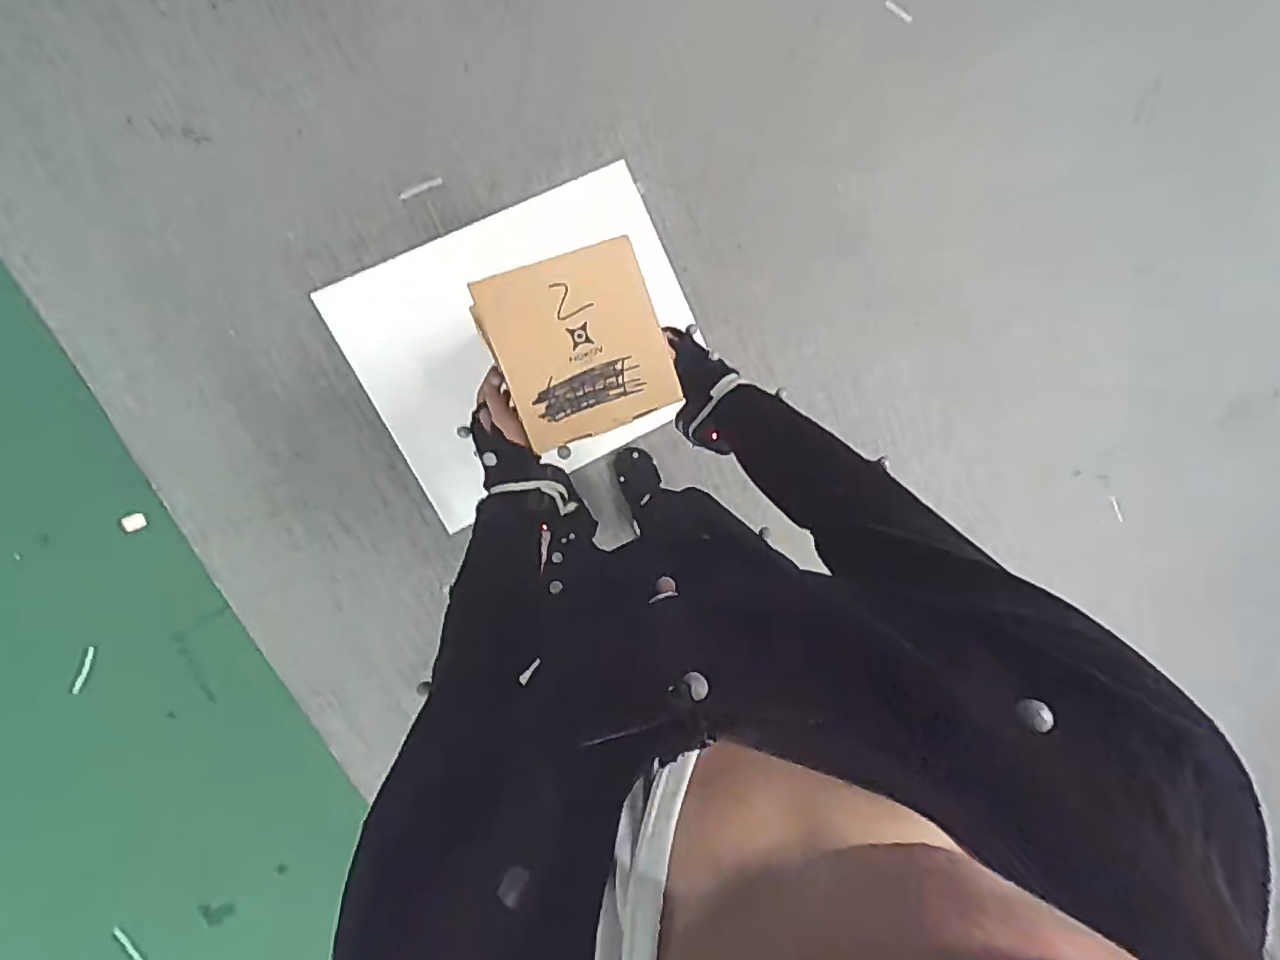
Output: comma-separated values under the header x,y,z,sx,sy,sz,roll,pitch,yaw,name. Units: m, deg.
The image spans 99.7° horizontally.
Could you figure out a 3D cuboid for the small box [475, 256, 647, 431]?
x,y,z,sx,sy,sz,roll,pitch,yaw,name
-0.115,-0.179,0.760,0.168,0.176,0.179,-27,101,-8,small box
